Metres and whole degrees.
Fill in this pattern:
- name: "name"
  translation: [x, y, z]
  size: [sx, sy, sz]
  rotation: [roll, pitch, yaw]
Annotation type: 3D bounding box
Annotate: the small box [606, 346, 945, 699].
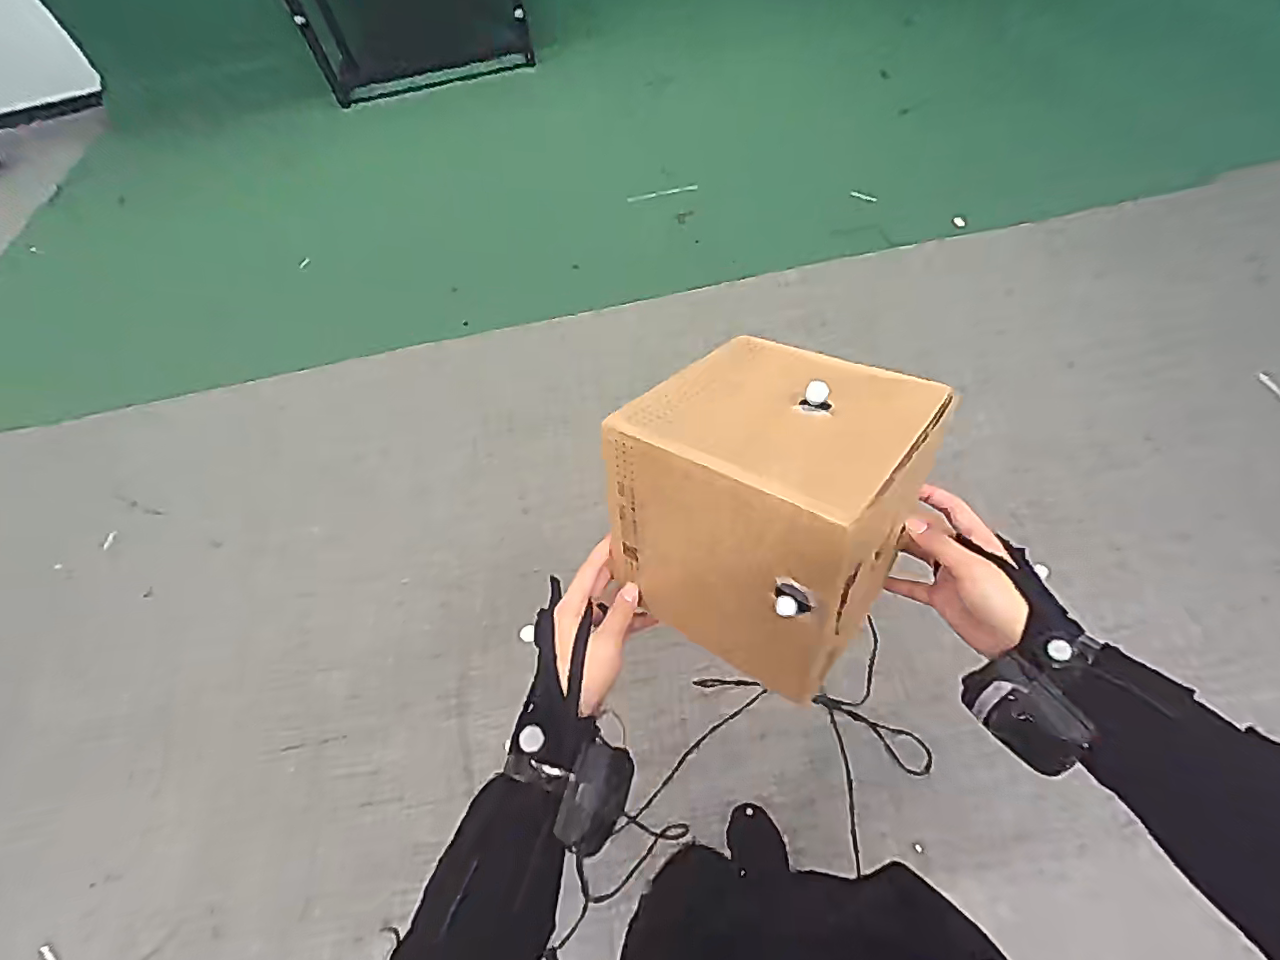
- name: "small box"
  translation: [0.095, 0.015, 0.410]
  size: [0.176, 0.168, 0.179]
  rotation: [25, 45, 32]
